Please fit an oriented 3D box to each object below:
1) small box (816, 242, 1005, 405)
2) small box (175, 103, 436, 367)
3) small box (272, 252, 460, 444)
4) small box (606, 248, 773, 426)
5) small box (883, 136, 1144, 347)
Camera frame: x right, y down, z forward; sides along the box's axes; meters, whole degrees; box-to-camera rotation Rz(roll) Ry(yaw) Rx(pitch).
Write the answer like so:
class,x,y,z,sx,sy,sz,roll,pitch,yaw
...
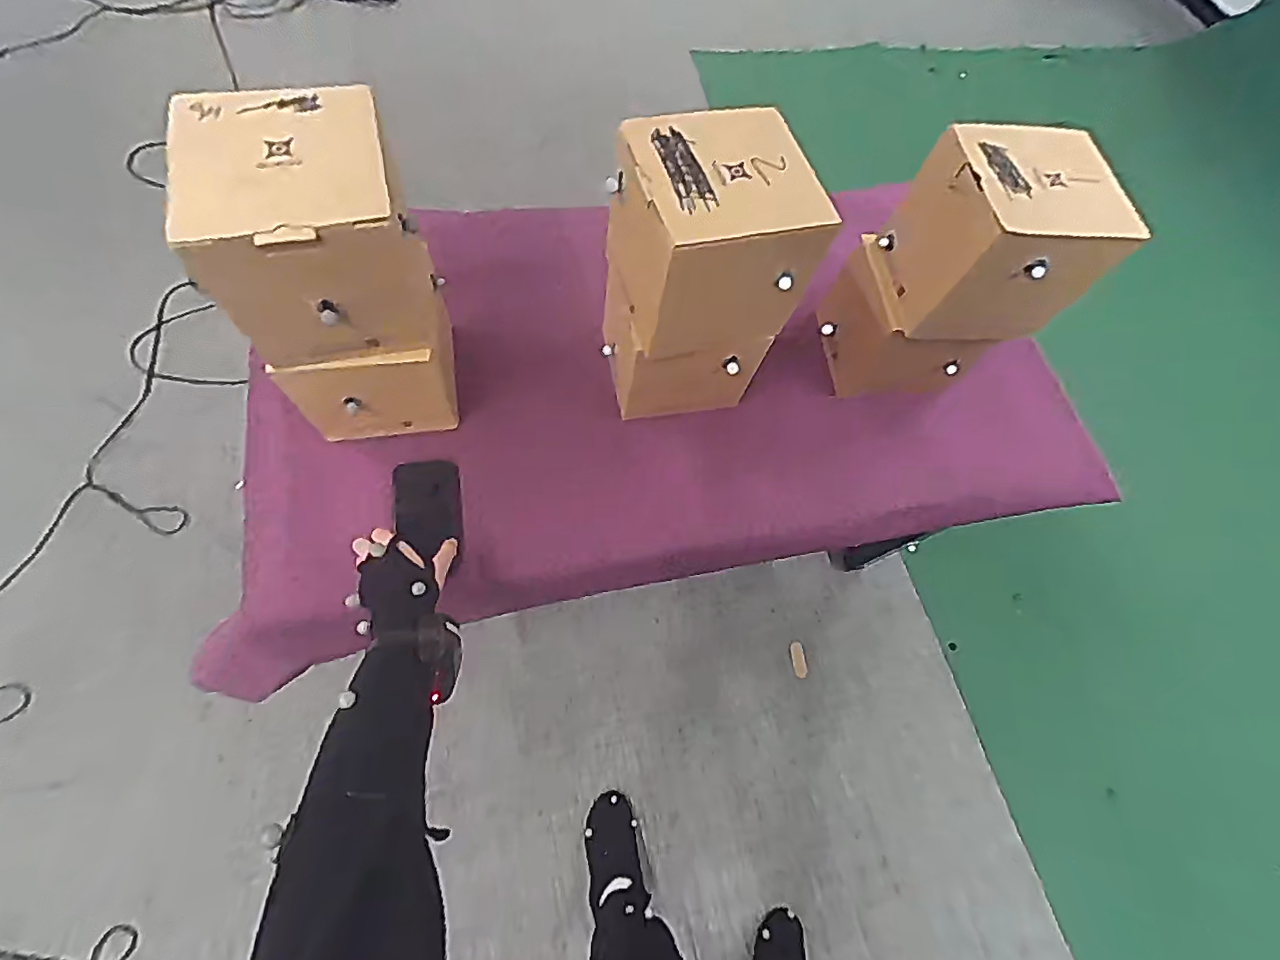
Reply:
class,x,y,z,sx,sy,sz,roll,pitch,yaw
small box,0.389,-0.223,0.802,0.179,0.176,0.168,-2,66,-8
small box,-0.312,-0.229,0.536,0.168,0.176,0.179,-12,69,-13
small box,-0.329,-0.156,0.682,0.168,0.176,0.179,-7,67,-10
small box,0.055,-0.190,0.744,0.179,0.176,0.168,-8,67,-10
small box,0.419,-0.276,0.650,0.179,0.176,0.168,-2,66,-9
